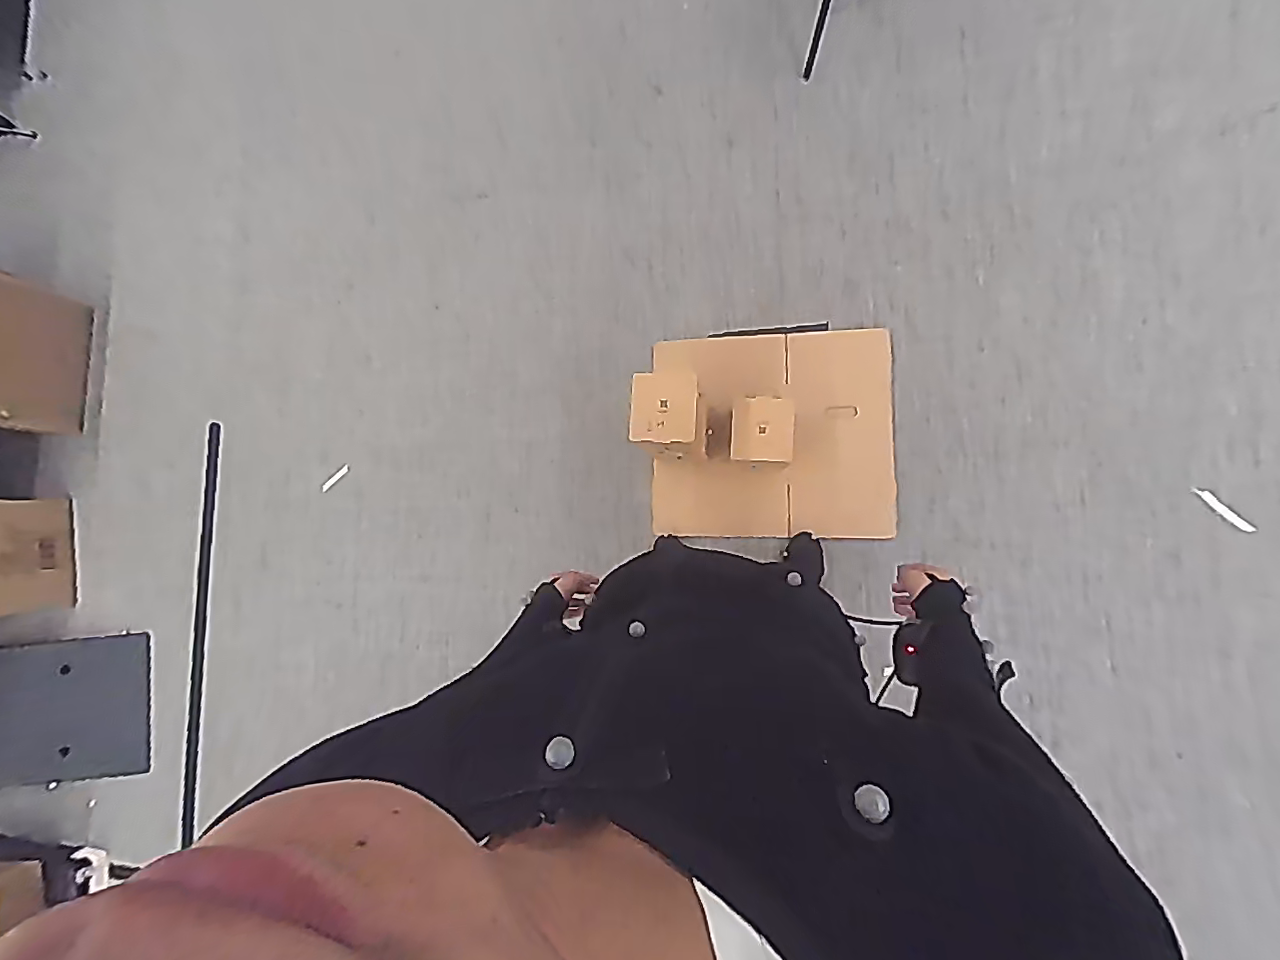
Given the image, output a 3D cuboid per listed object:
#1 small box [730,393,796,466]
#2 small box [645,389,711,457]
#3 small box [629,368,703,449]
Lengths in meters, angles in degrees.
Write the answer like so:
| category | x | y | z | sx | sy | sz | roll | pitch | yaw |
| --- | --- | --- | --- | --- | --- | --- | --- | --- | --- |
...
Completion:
| category | x | y | z | sx | sy | sz | roll | pitch | yaw |
| --- | --- | --- | --- | --- | --- | --- | --- | --- | --- |
| small box | 0.340 | -0.138 | 1.515 | 0.168 | 0.176 | 0.179 | 3 | 86 | 10 |
| small box | 0.115 | -0.161 | 1.561 | 0.168 | 0.176 | 0.179 | 2 | 87 | 12 |
| small box | 0.073 | -0.181 | 1.402 | 0.168 | 0.176 | 0.179 | 3 | 86 | 12 |
